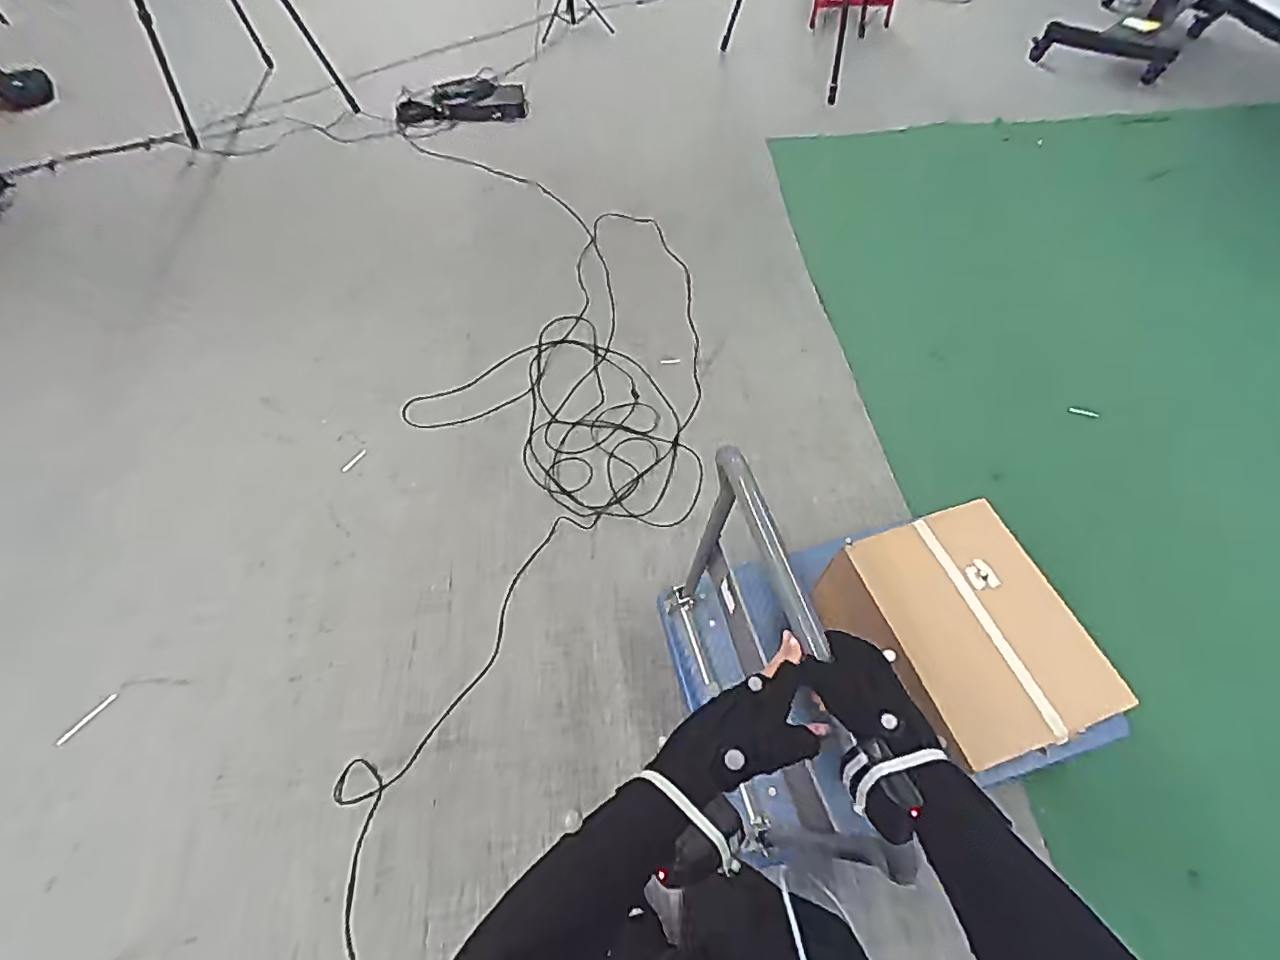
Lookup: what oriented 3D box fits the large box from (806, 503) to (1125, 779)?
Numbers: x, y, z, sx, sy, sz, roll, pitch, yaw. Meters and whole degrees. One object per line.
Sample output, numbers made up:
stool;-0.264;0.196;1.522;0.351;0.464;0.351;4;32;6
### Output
large box;0.590;0.324;1.082;0.320;0.320;0.408;-16;59;-9
